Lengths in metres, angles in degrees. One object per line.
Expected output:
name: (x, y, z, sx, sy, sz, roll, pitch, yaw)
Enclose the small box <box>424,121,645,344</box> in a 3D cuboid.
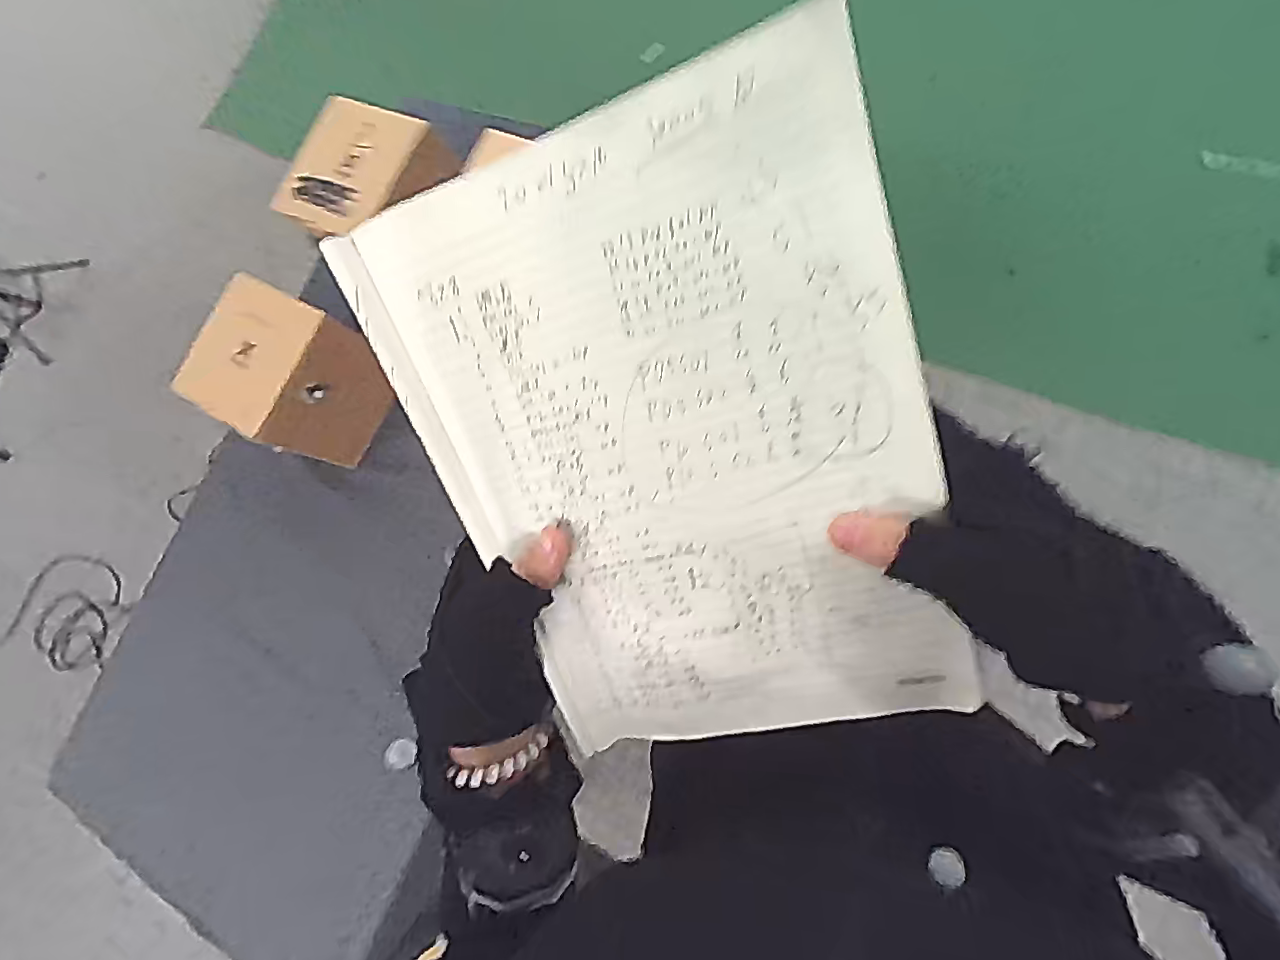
small box: (-0.118, -0.294, 0.671, 0.179, 0.176, 0.168, 27, 87, 18)
